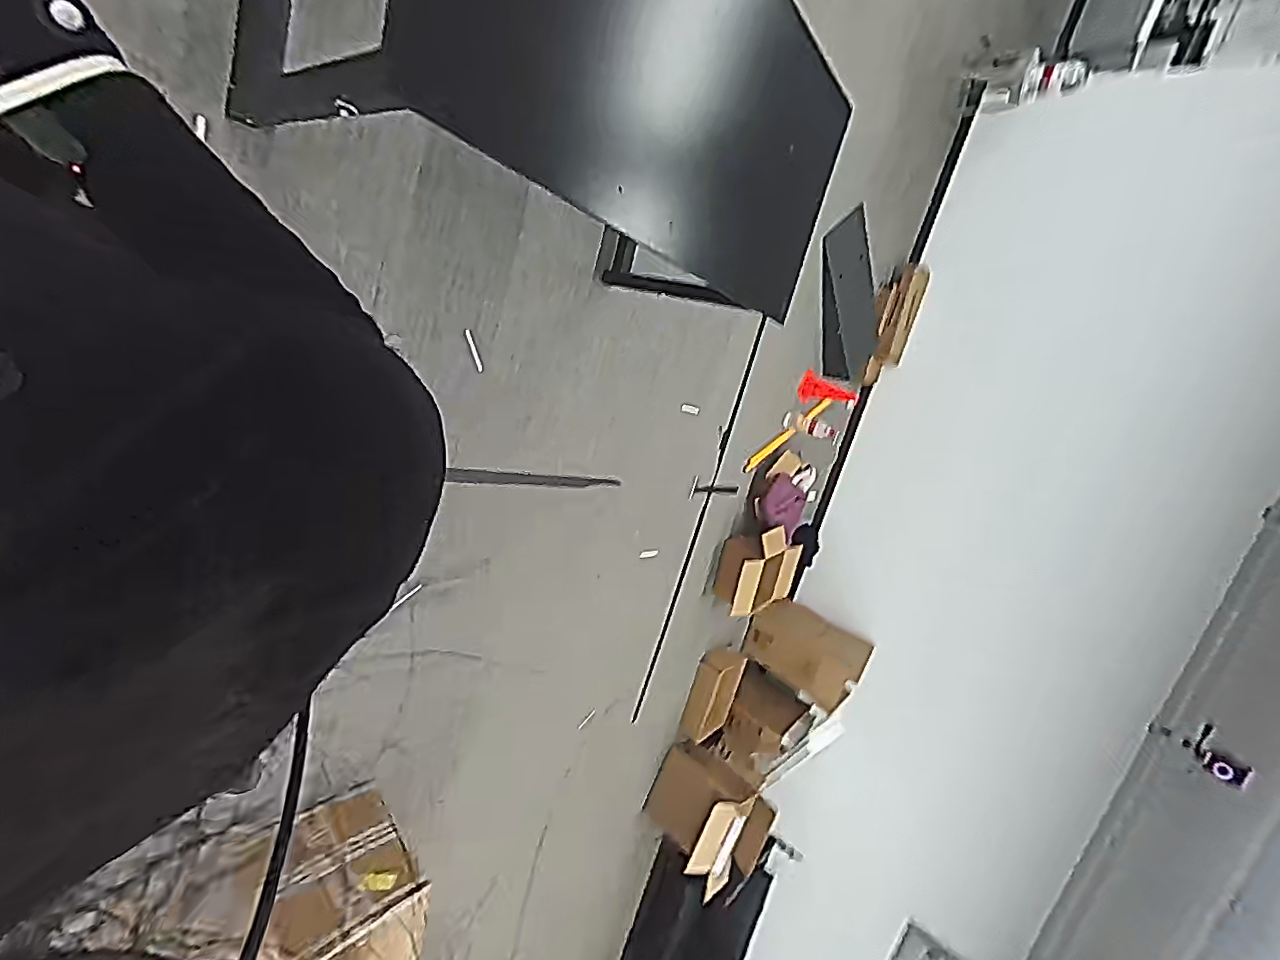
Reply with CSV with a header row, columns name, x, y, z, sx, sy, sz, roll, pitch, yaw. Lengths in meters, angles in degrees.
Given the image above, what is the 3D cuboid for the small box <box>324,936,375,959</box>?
name,x,y,z,sx,sy,sz,roll,pitch,yaw
small box,-0.800,1.394,1.440,0.179,0.176,0.168,-10,114,-48
